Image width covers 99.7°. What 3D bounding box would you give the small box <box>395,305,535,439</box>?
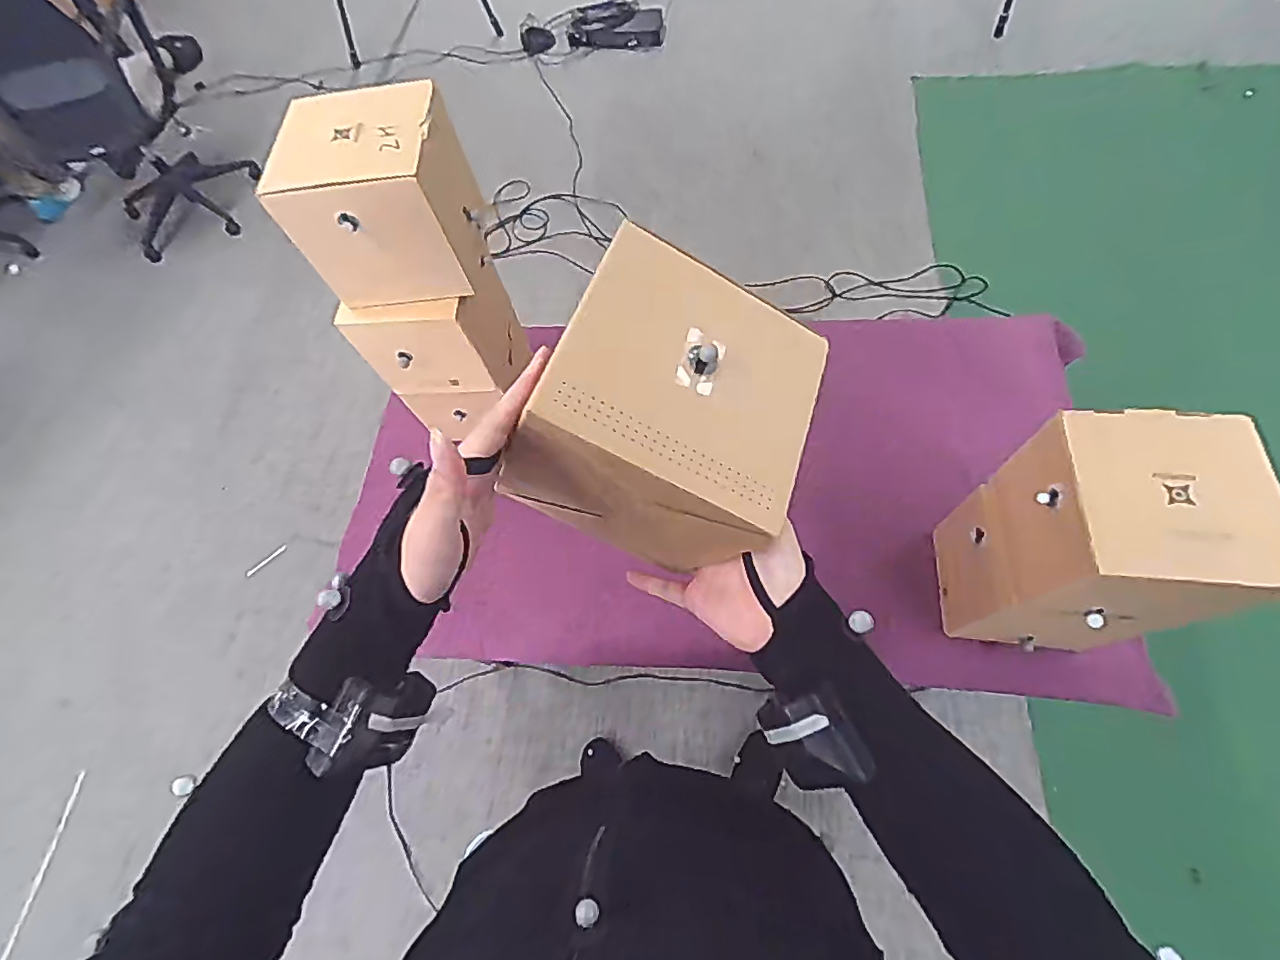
[{"bbox_3d":[-0.292,-0.182,0.948,0.179,0.176,0.168,-2,65,5],"label":"small box"}]

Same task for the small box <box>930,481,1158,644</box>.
[{"bbox_3d":[0.516,0.117,0.721,0.179,0.176,0.168,5,64,8],"label":"small box"}]

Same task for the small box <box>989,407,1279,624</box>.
[{"bbox_3d":[0.502,0.043,0.576,0.168,0.176,0.179,3,65,10],"label":"small box"}]

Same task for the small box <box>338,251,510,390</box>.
[{"bbox_3d":[-0.302,-0.245,0.800,0.168,0.176,0.179,-2,64,5],"label":"small box"}]

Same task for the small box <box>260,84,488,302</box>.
[{"bbox_3d":[-0.305,-0.338,0.661,0.179,0.176,0.168,-4,65,4],"label":"small box"}]
